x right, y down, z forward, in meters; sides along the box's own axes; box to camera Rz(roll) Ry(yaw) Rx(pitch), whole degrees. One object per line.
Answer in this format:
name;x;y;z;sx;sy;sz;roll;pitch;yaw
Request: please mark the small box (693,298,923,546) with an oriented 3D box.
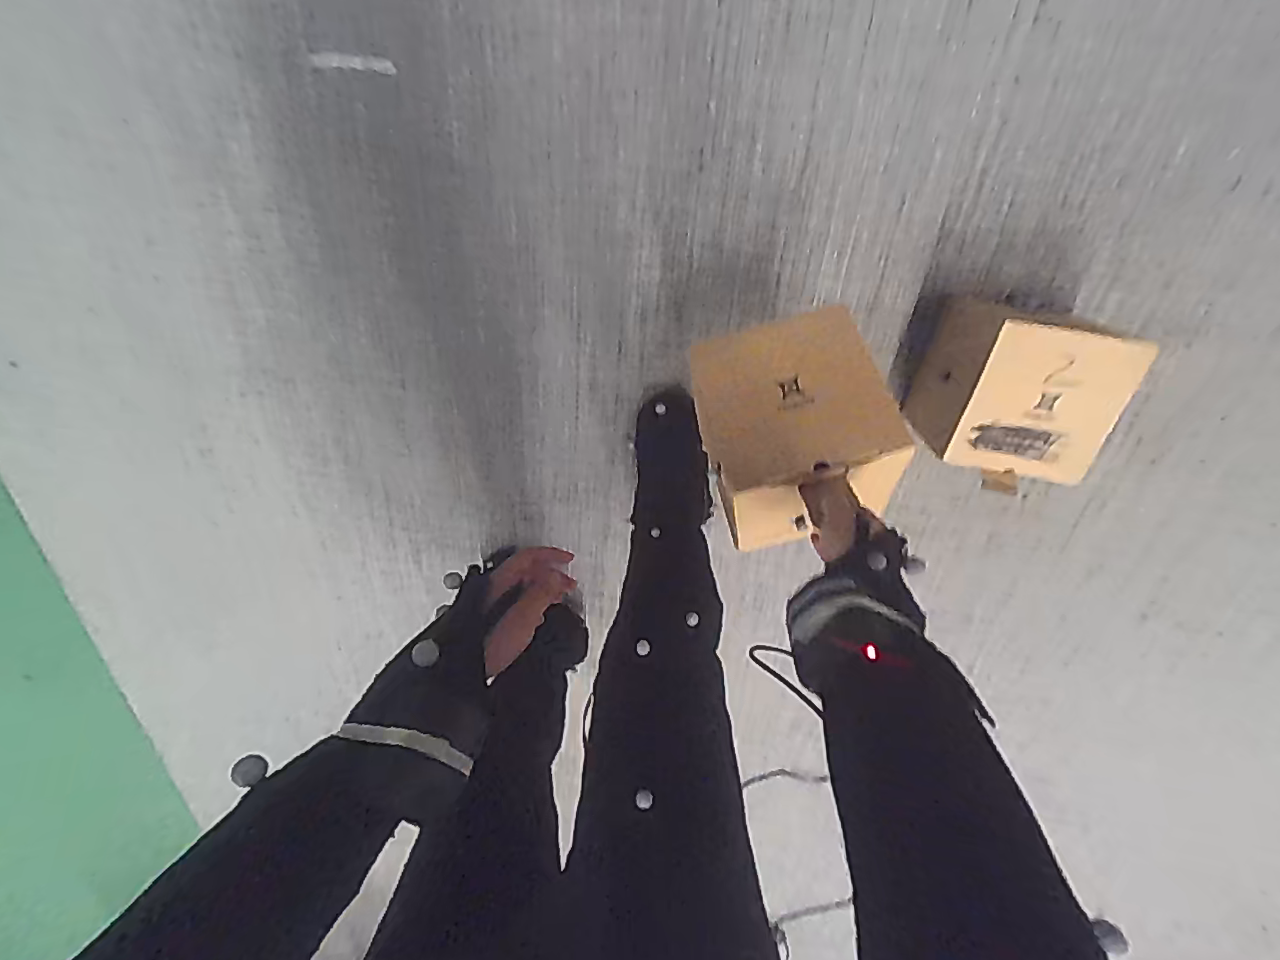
small box;0.158;-0.051;0.568;0.168;0.179;0.176;-15;154;5
